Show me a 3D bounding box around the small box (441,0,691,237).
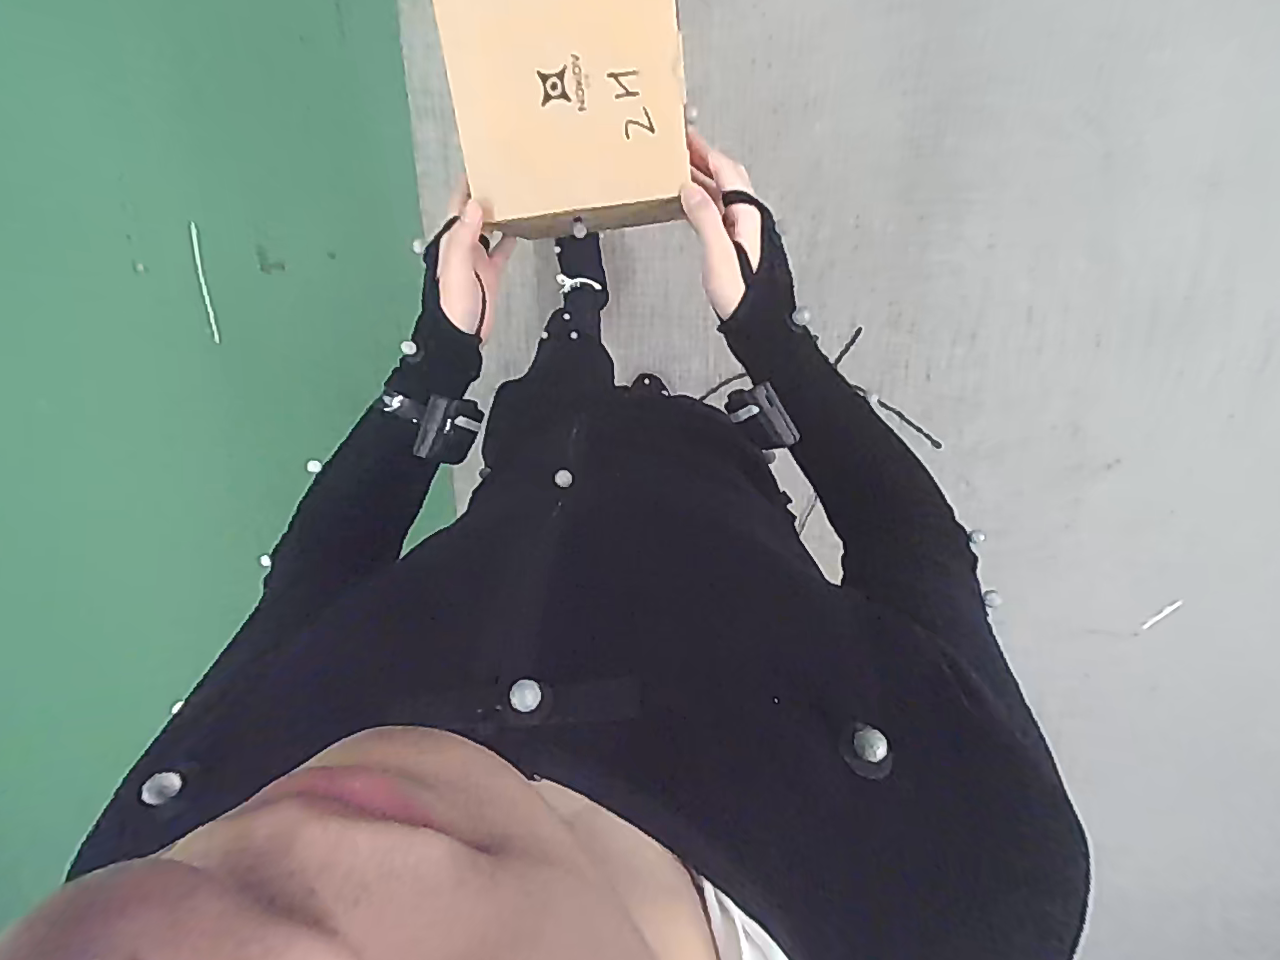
[{"bbox_3d":[-0.047,-0.317,0.475,0.179,0.176,0.168,-4,109,5],"label":"small box"}]
